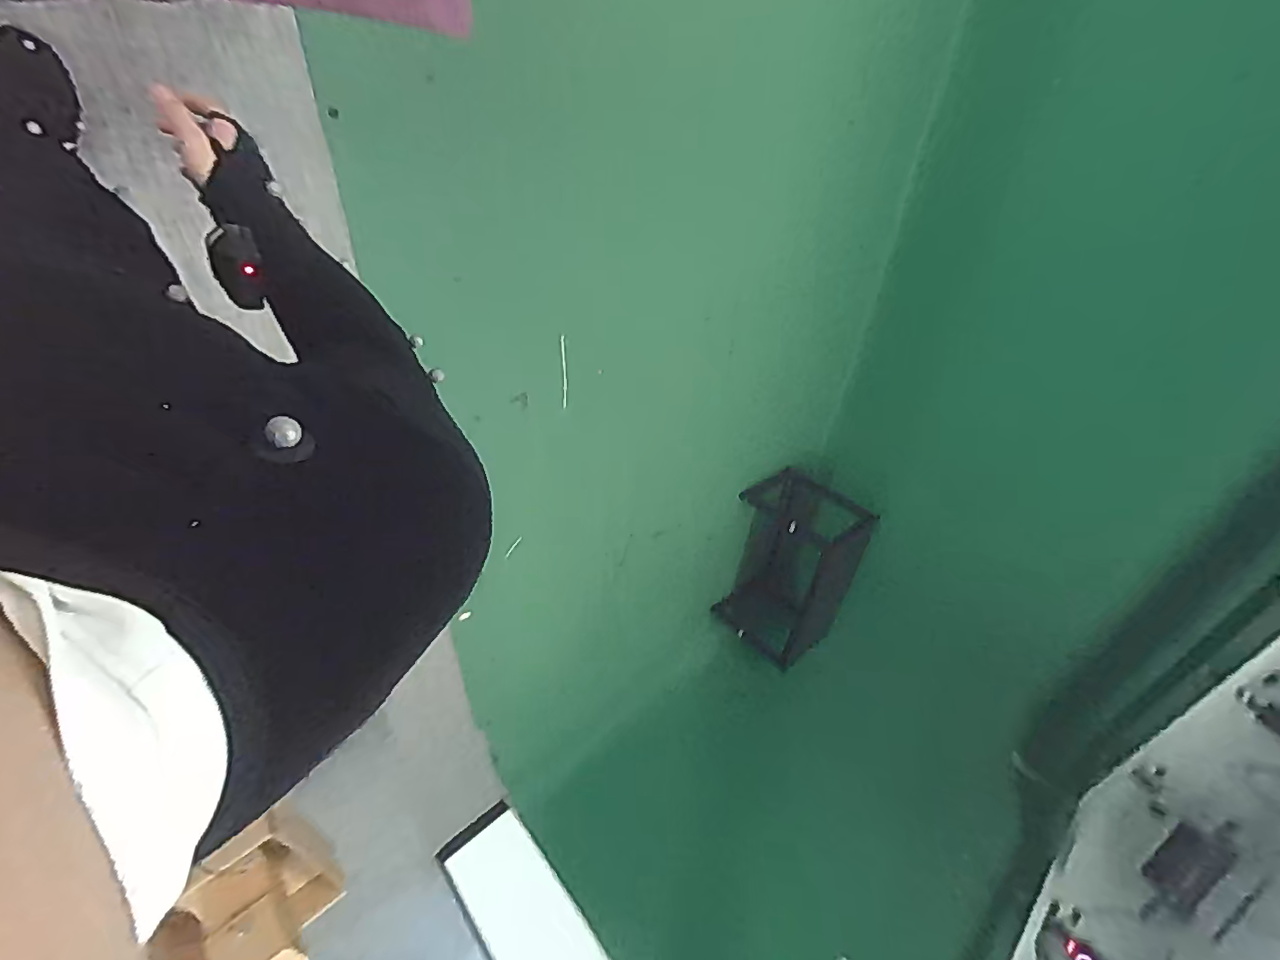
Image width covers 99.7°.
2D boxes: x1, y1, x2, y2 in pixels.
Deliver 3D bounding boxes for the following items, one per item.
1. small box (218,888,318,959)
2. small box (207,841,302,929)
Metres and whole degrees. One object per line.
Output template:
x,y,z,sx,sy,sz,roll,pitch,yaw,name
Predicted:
-1.063,1.320,1.547,0.168,0.176,0.179,-31,140,-32,small box
-1.174,1.247,1.646,0.168,0.176,0.179,-29,140,-32,small box
